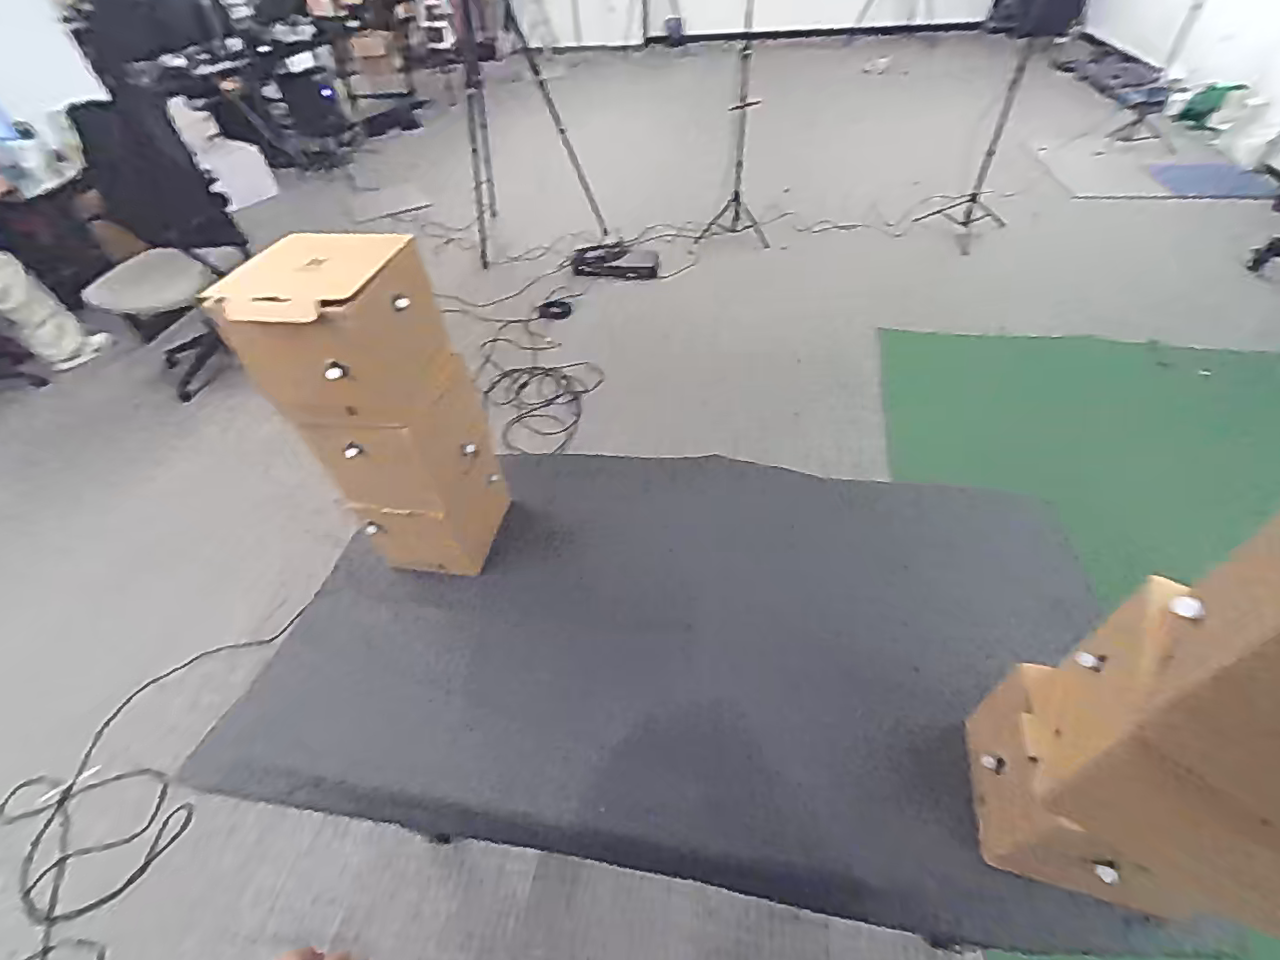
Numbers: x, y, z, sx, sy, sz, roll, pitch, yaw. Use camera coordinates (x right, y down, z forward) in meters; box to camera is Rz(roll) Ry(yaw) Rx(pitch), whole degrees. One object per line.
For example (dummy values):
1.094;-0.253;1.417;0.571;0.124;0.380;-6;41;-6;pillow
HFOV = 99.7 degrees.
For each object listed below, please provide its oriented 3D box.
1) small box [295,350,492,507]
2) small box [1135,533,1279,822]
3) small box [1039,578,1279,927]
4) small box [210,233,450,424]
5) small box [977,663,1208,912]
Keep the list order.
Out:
-0.342;-0.077;0.791;0.179;0.176;0.168;6;49;9;small box
0.459;0.123;0.314;0.168;0.176;0.179;-34;52;-27;small box
0.474;0.222;0.447;0.179;0.176;0.168;27;52;27;small box
-0.359;-0.186;0.672;0.168;0.176;0.179;4;47;6;small box
0.483;0.326;0.574;0.179;0.176;0.168;9;46;14;small box
